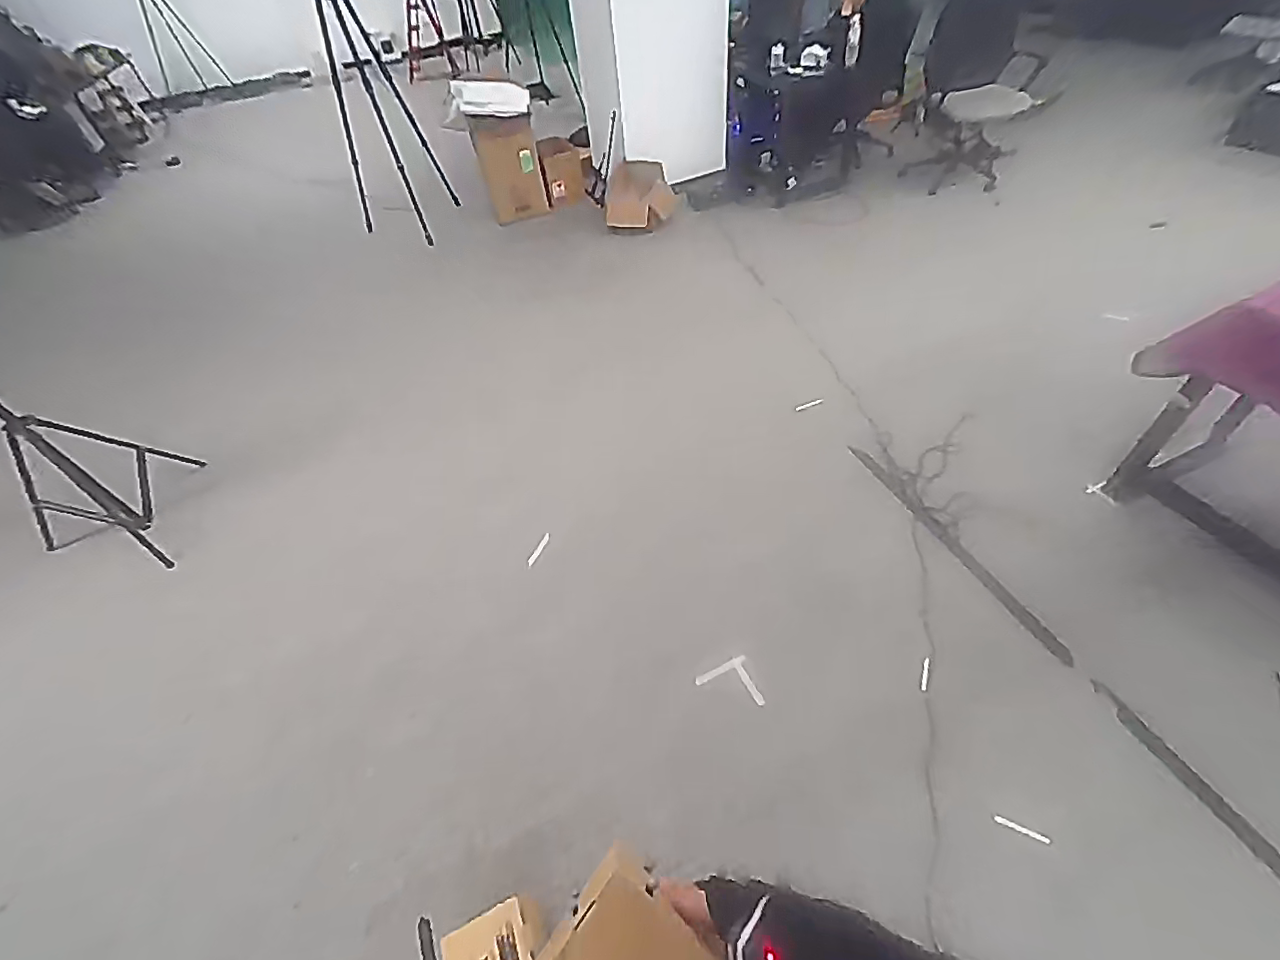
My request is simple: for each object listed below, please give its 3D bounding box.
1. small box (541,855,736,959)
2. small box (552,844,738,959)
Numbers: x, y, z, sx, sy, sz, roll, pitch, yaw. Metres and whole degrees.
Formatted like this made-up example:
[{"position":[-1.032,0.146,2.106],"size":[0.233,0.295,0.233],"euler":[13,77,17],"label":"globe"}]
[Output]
[{"position":[-0.005,0.505,0.525],"size":[0.179,0.176,0.168],"euler":[34,67,16],"label":"small box"},{"position":[-0.007,0.586,0.667],"size":[0.179,0.176,0.168],"euler":[34,66,15],"label":"small box"}]
